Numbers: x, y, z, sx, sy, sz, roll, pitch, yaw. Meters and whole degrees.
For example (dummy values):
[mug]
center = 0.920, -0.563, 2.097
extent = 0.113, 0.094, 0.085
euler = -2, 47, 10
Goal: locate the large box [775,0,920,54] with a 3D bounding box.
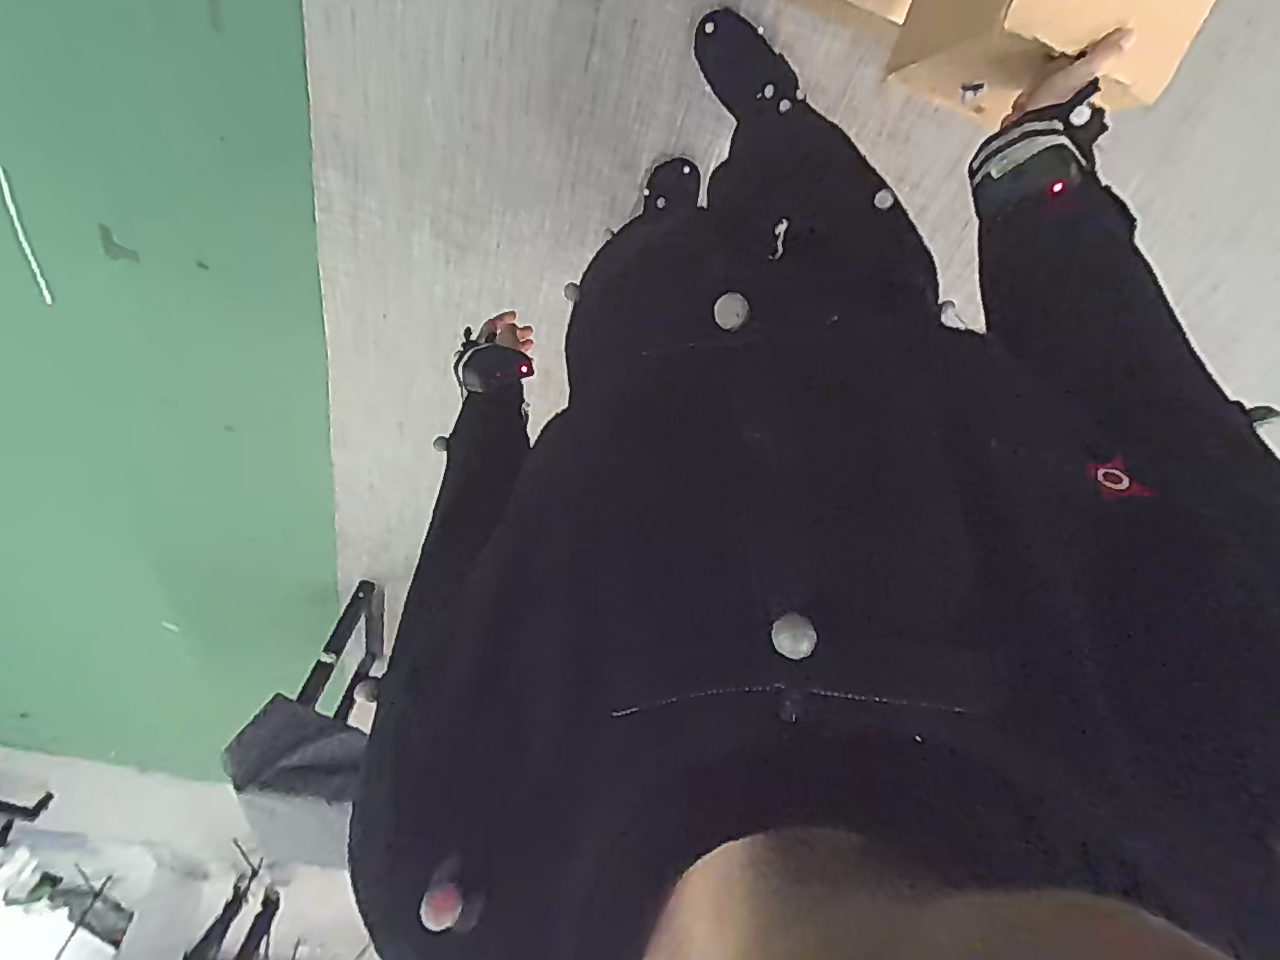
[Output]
[large box]
center = 0.452, -0.795, 0.751
extent = 0.408, 0.320, 0.320
euler = 14, 130, -10

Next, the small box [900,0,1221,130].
[small box]
center = 0.366, -0.437, 0.466
extent = 0.168, 0.176, 0.179
euler = 13, 113, -15
